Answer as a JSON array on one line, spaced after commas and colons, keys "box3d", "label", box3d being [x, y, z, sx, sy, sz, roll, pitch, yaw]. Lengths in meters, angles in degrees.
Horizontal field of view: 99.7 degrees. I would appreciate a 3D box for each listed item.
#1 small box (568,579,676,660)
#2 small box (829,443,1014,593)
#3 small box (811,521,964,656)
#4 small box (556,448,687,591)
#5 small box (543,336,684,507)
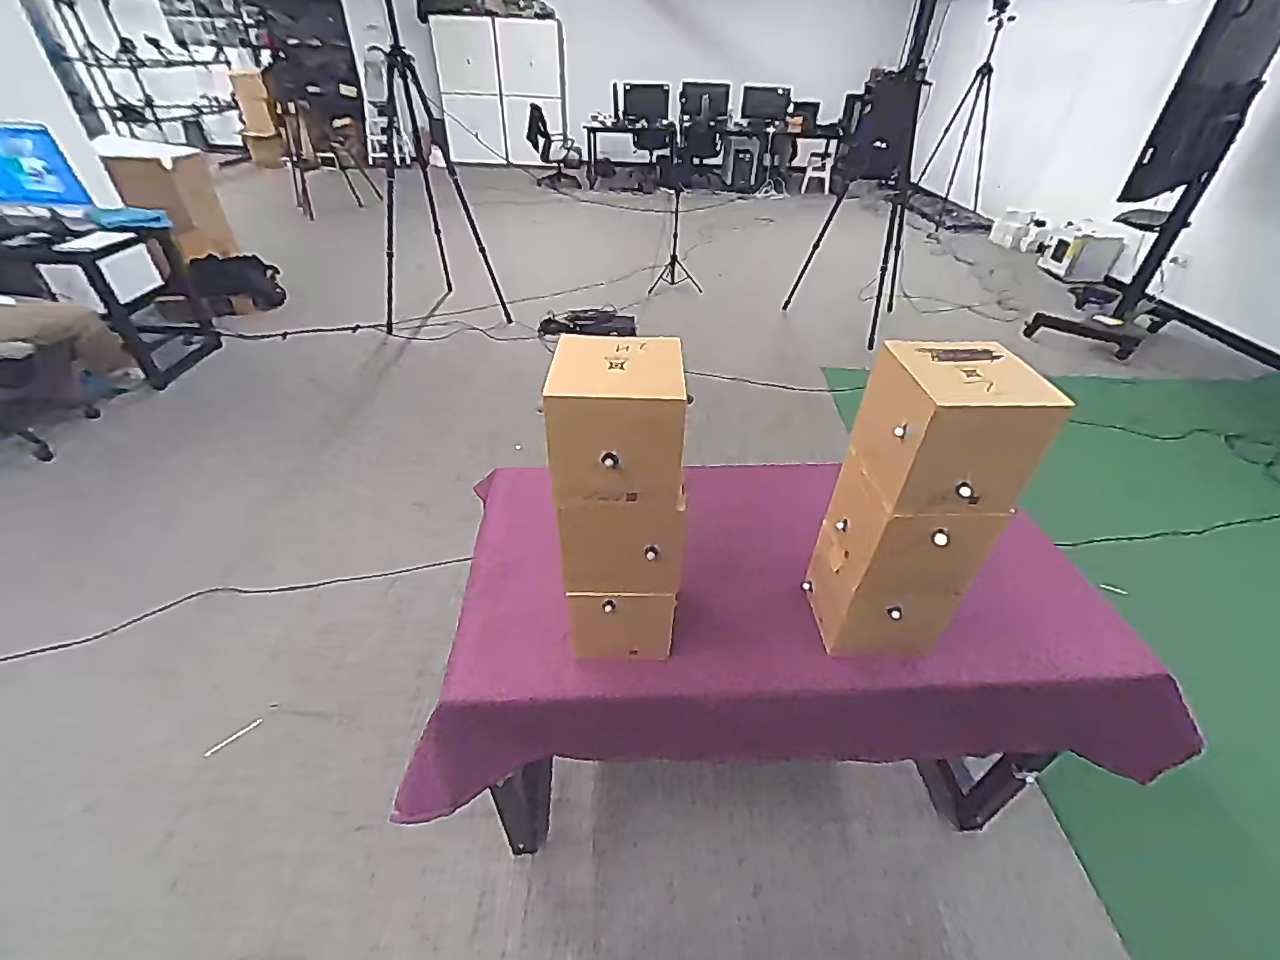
[{"box3d": [-0.028, 0.183, 0.924, 0.168, 0.176, 0.179, 0, 38, 0], "label": "small box"}, {"box3d": [0.414, 0.060, 0.832, 0.179, 0.176, 0.168, -1, 39, -2], "label": "small box"}, {"box3d": [0.407, 0.187, 0.933, 0.179, 0.176, 0.168, 1, 38, -2], "label": "small box"}, {"box3d": [-0.025, 0.054, 0.823, 0.179, 0.176, 0.168, 1, 38, 0], "label": "small box"}, {"box3d": [-0.028, -0.078, 0.725, 0.168, 0.176, 0.179, 2, 38, 0], "label": "small box"}]
